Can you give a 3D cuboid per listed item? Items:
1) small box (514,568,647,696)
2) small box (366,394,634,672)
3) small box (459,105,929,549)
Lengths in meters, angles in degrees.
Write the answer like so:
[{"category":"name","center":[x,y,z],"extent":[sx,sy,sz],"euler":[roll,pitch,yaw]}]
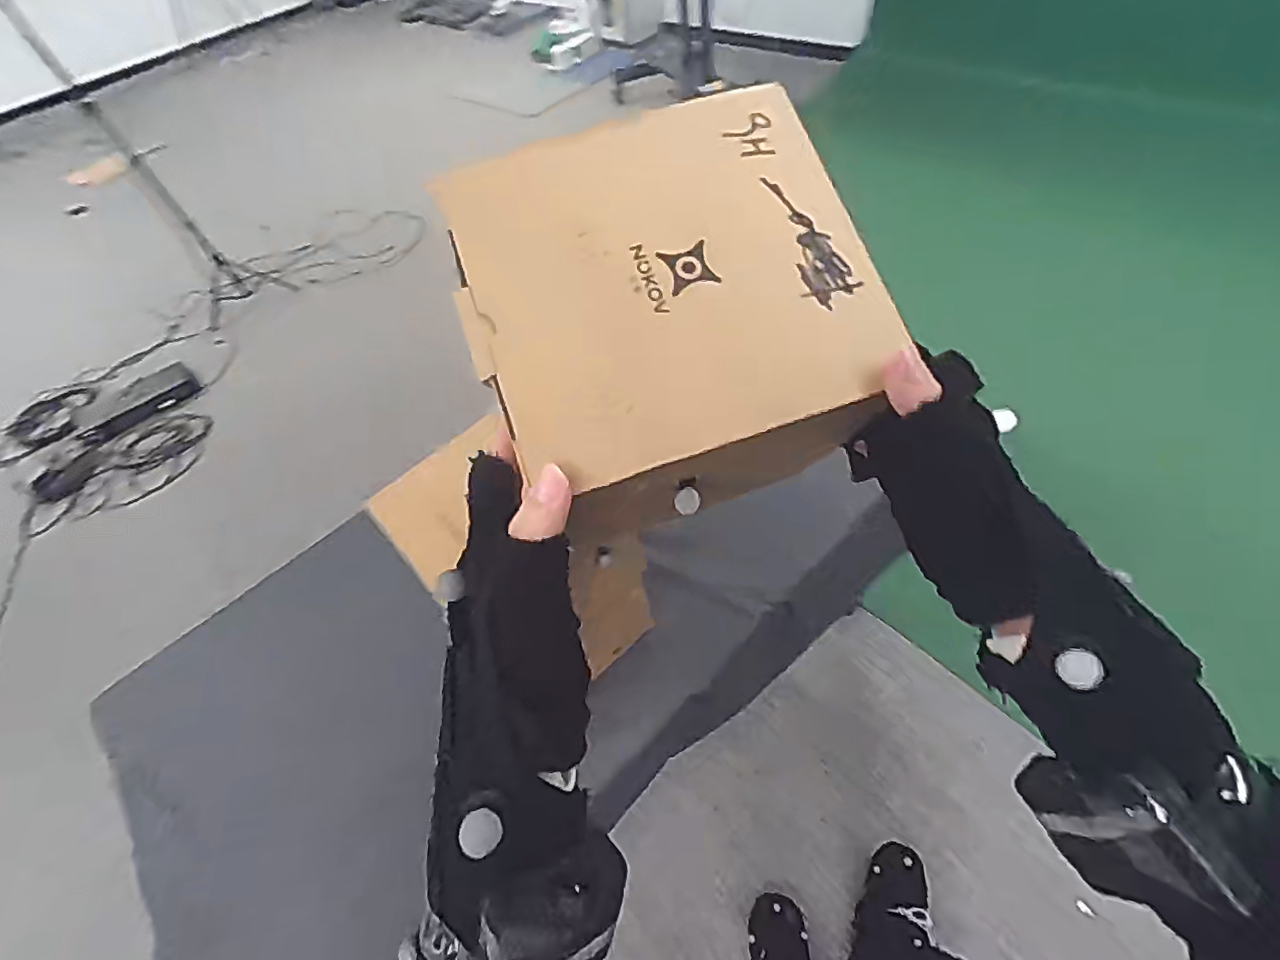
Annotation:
[{"category":"small box","center":[-0.110,0.149,0.690],"extent":[0.168,0.176,0.179],"euler":[-39,56,-18]},{"category":"small box","center":[-0.121,0.053,0.539],"extent":[0.168,0.176,0.179],"euler":[33,64,30]},{"category":"small box","center":[0.020,-0.068,0.325],"extent":[0.179,0.176,0.168],"euler":[-20,76,-6]}]
